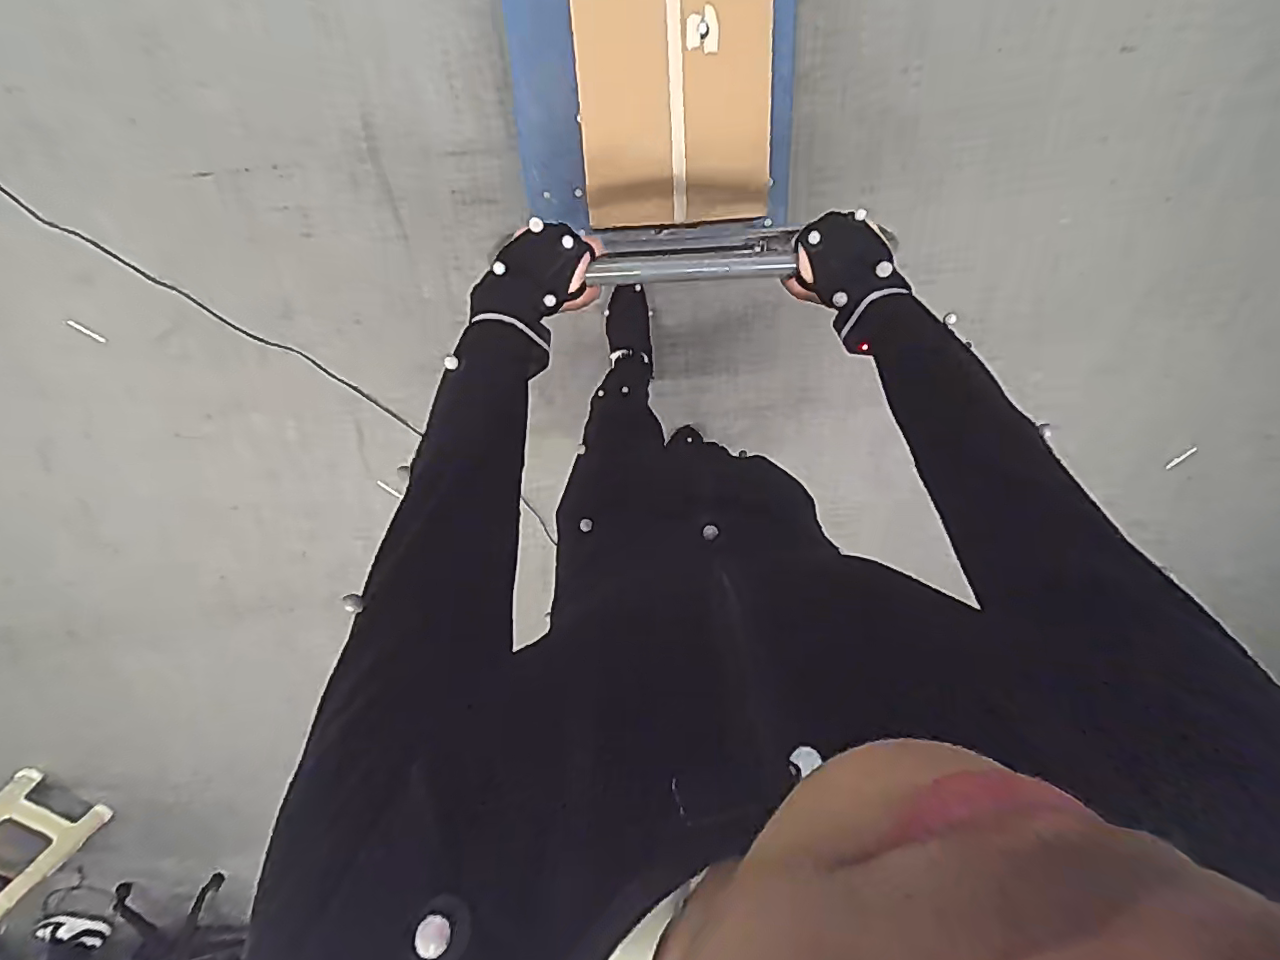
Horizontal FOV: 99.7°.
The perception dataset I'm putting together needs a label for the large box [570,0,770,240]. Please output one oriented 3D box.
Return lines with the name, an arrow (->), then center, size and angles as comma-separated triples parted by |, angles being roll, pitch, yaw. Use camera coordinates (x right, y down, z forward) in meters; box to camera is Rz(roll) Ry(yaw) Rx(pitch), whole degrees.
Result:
large box -> 0.055, -0.686, 1.013 | 0.320, 0.320, 0.408 | -4, 111, 0
